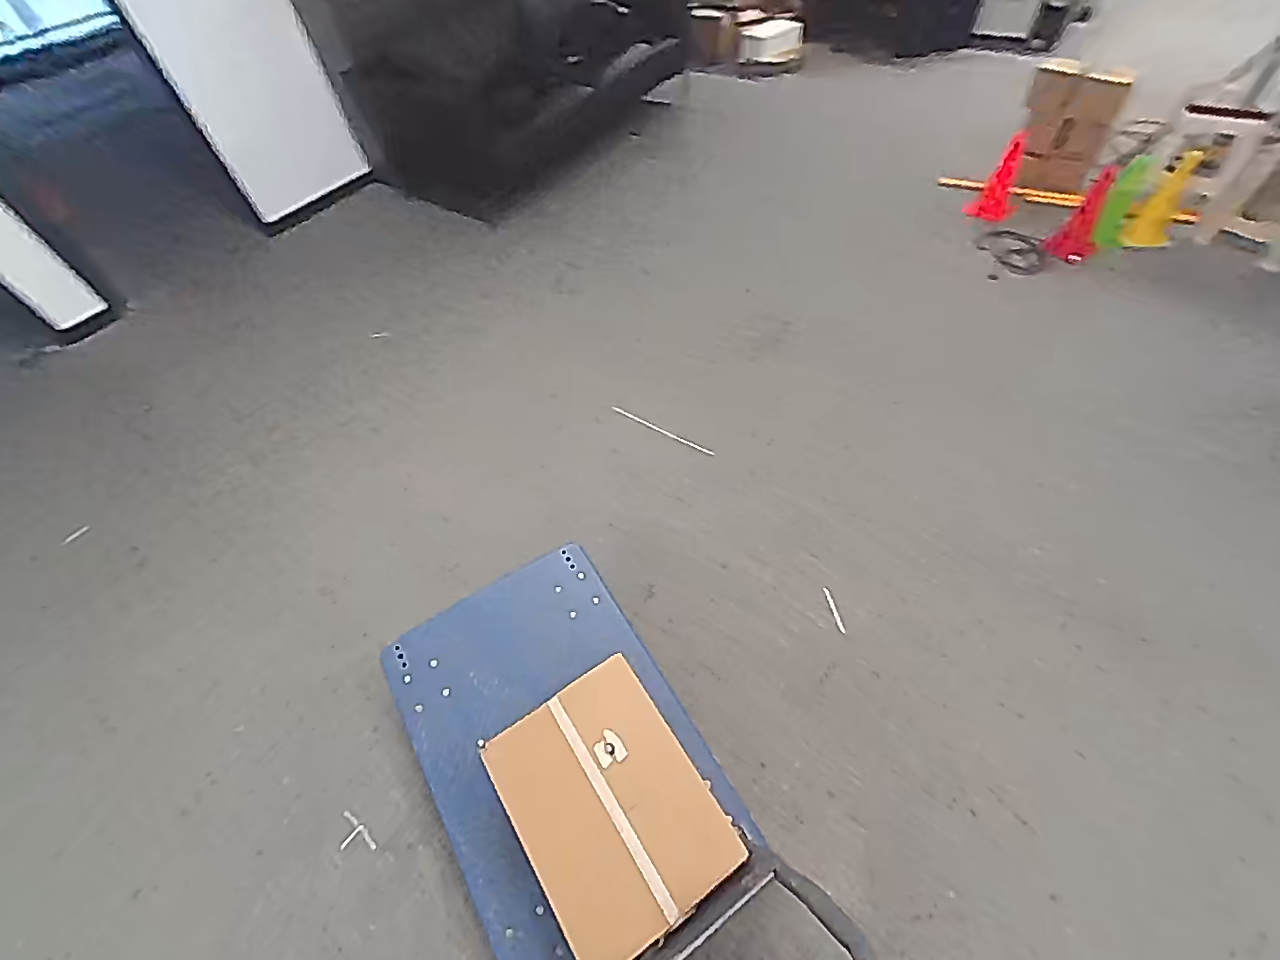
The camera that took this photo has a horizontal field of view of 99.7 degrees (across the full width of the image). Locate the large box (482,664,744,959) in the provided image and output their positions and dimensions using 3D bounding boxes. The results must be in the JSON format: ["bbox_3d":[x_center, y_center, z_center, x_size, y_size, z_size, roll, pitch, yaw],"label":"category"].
[{"bbox_3d":[-0.051,0.656,1.089,0.320,0.320,0.408,-31,64,-16],"label":"large box"}]
